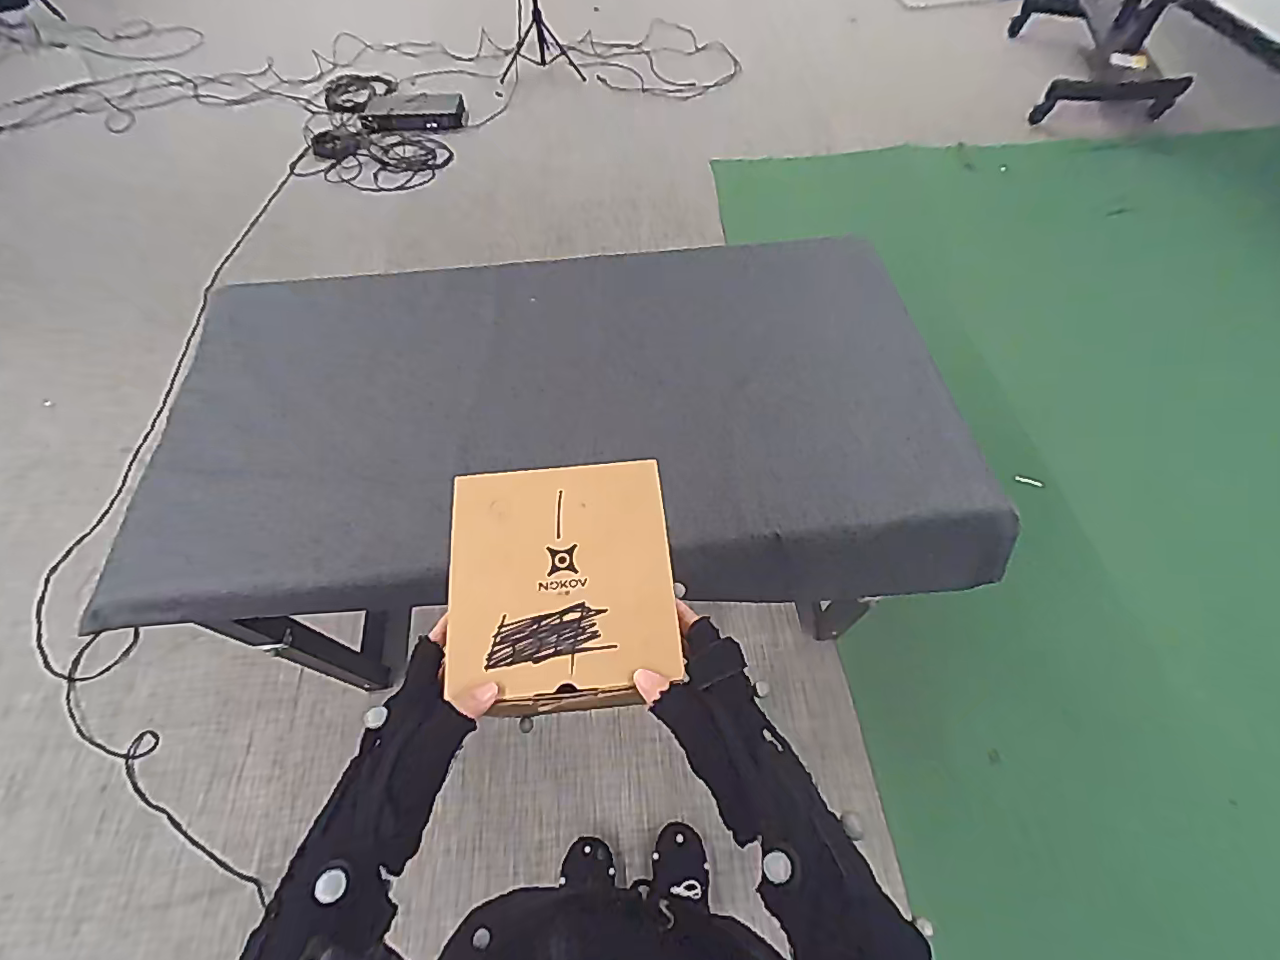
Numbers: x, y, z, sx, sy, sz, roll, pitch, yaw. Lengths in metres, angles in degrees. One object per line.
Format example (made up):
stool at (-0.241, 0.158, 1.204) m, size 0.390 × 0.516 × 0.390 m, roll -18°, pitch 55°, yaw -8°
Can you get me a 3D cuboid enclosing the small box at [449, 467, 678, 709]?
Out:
small box at (-0.058, 0.106, 0.484) m, size 0.168 × 0.176 × 0.179 m, roll -3°, pitch 64°, yaw -3°
